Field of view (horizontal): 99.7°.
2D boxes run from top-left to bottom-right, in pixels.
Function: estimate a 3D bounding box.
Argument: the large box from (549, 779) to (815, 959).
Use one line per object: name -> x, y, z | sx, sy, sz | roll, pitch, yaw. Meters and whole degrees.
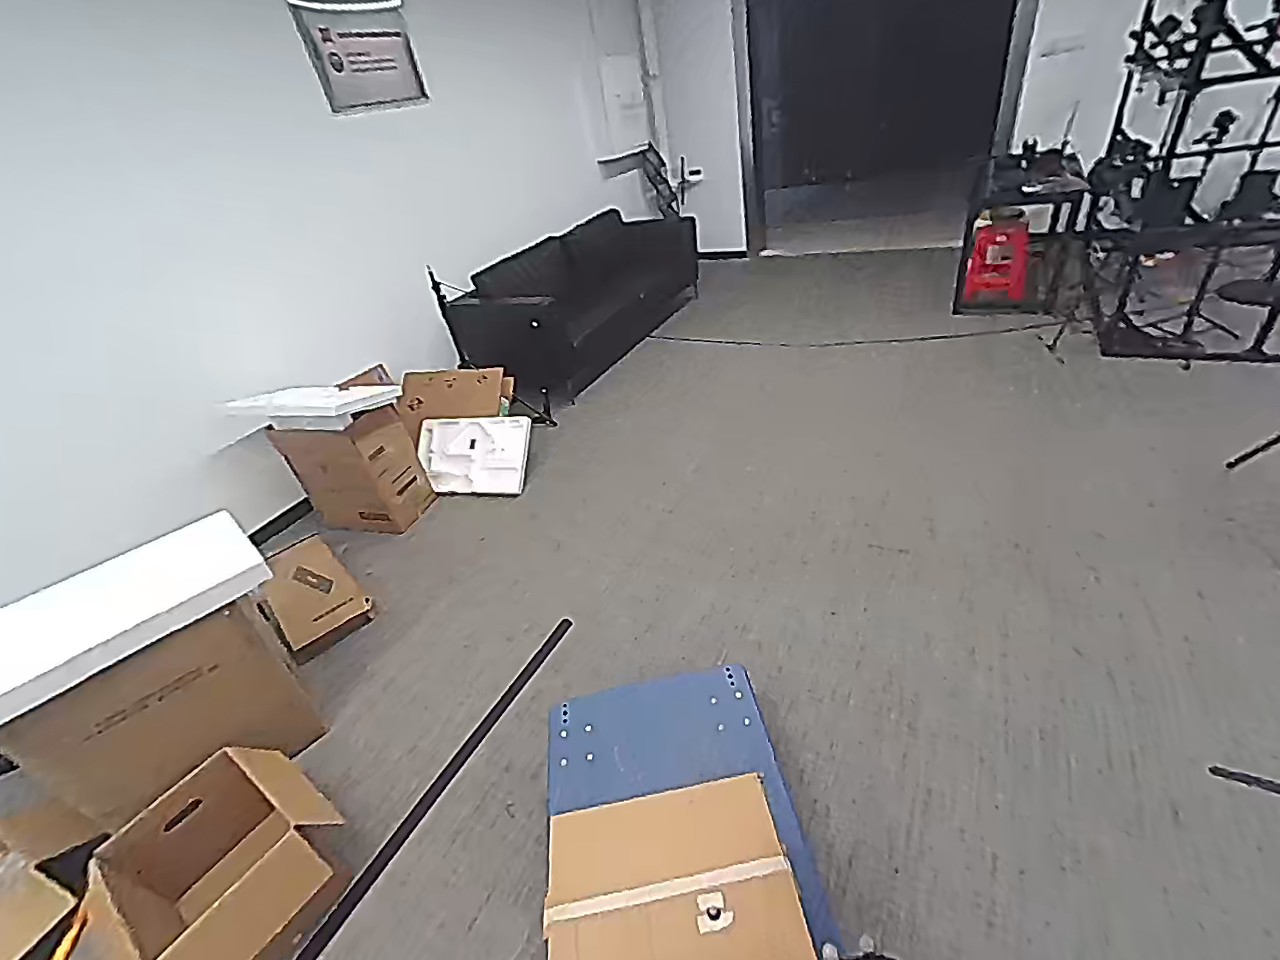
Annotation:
large box -> 0.067, 0.808, 0.967 | 0.408, 0.320, 0.320 | -11, 34, -2
